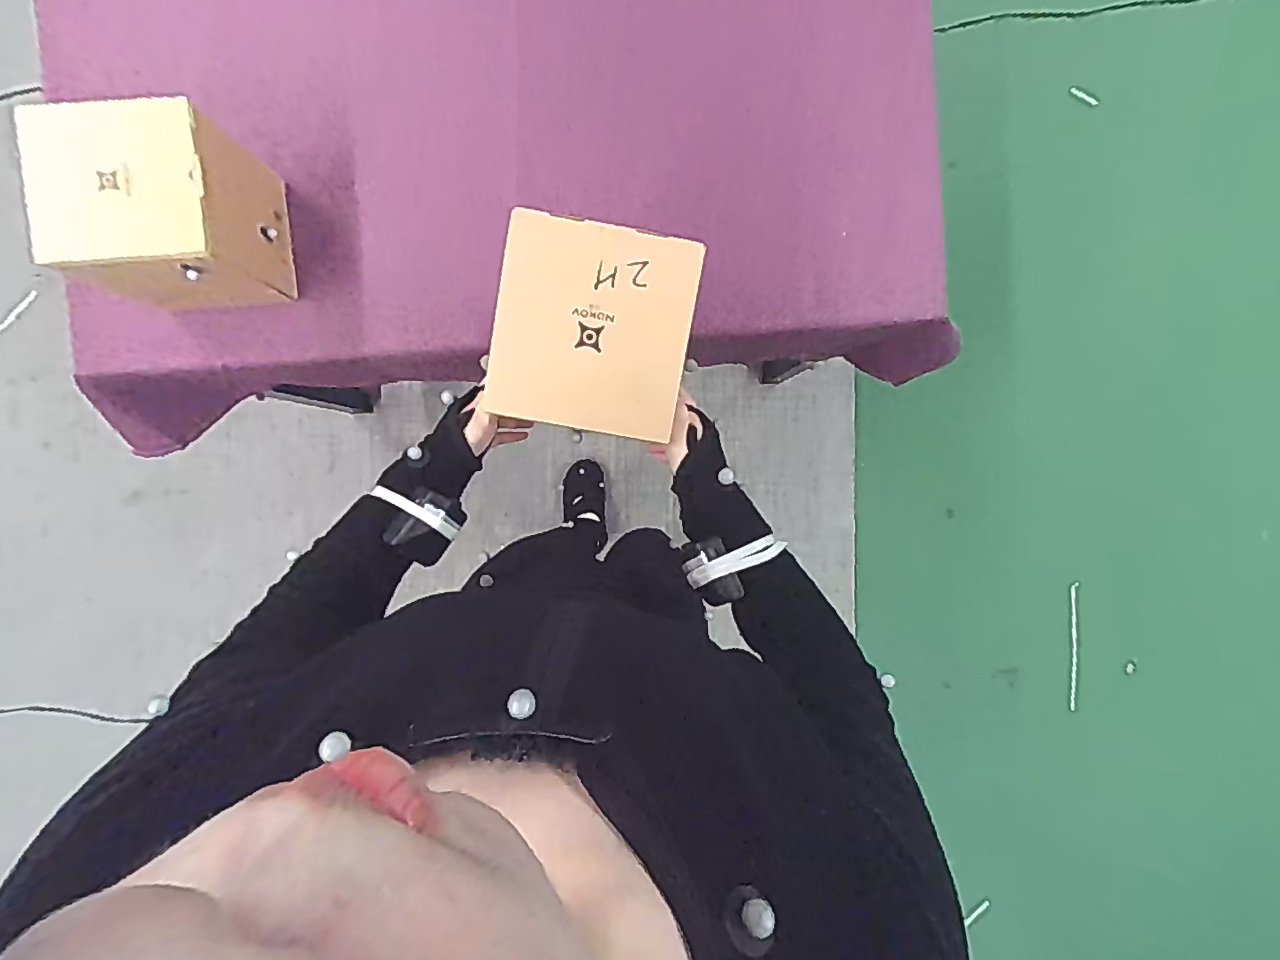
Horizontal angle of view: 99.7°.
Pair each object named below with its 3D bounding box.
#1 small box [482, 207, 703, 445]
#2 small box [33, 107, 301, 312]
[{"bbox_3d":[-0.042,-0.136,0.543,0.168,0.176,0.179,11,93,-2],"label":"small box"},{"bbox_3d":[-0.552,-0.311,0.654,0.179,0.176,0.168,-6,91,-4],"label":"small box"}]
